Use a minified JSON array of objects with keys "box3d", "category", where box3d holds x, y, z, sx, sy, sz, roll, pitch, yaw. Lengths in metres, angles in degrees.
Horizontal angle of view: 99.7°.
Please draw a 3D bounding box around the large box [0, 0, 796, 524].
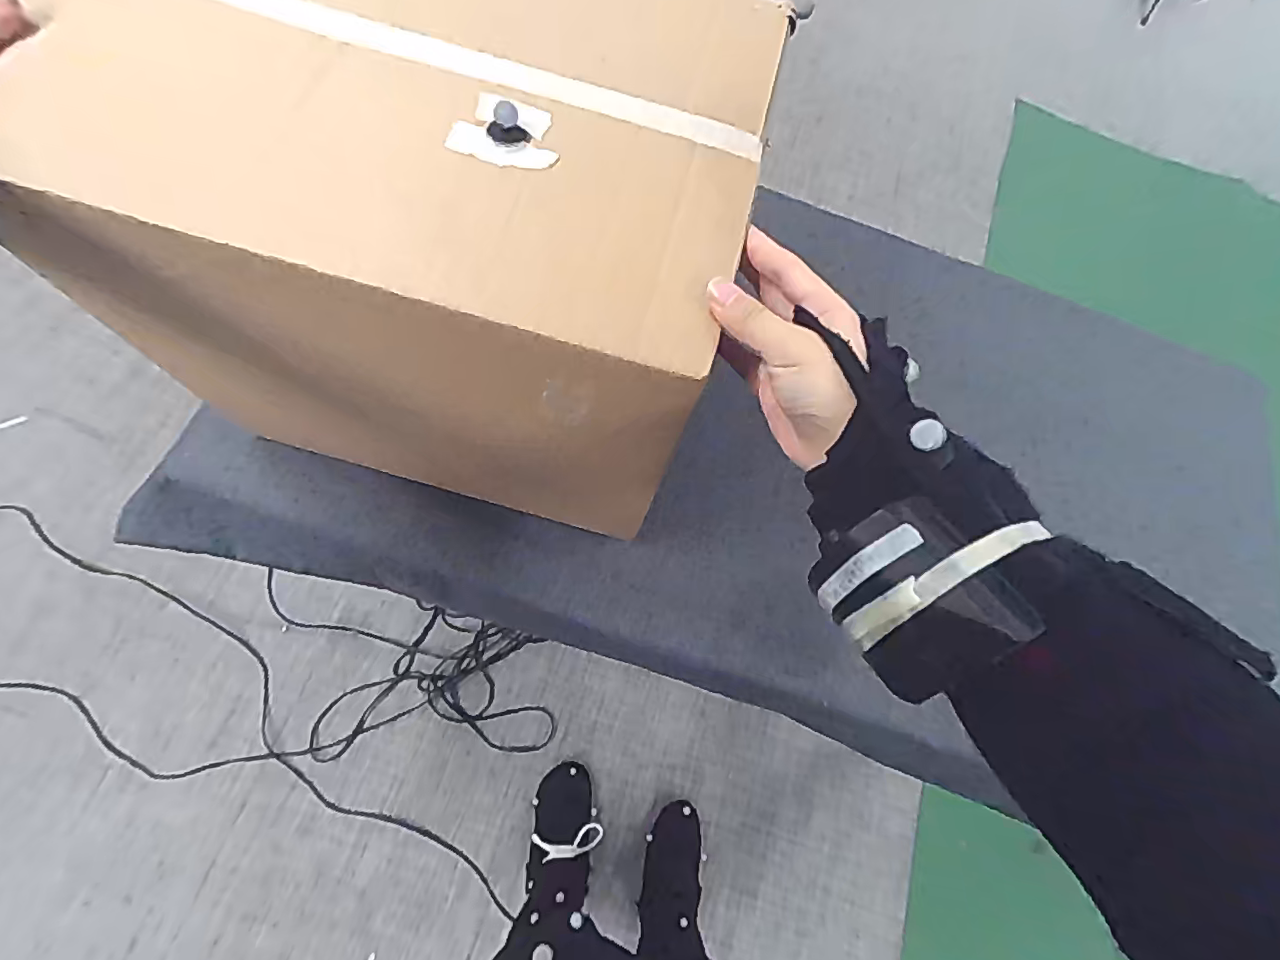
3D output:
[{"box3d":[-0.136,-0.190,0.454,0.408,0.320,0.320,16,69,-3],"category":"large box"}]
